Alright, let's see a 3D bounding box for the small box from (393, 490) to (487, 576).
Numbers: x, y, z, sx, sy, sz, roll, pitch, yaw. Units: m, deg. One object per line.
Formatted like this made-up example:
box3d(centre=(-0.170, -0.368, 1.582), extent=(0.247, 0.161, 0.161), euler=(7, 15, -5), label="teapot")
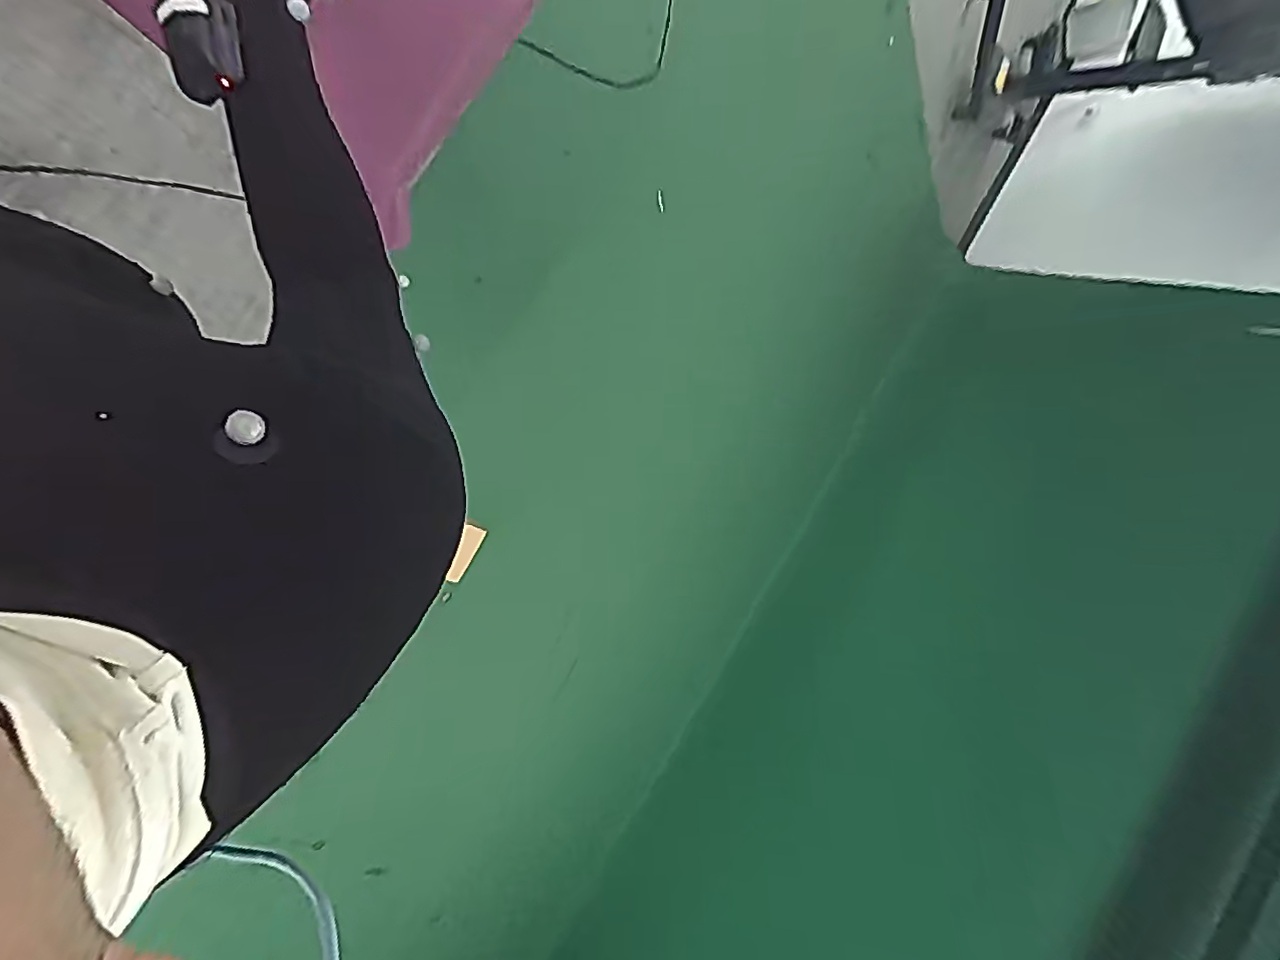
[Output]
box3d(centre=(-0.590, 0.153, 1.583), extent=(0.168, 0.176, 0.179), euler=(34, 86, -49), label="small box")
